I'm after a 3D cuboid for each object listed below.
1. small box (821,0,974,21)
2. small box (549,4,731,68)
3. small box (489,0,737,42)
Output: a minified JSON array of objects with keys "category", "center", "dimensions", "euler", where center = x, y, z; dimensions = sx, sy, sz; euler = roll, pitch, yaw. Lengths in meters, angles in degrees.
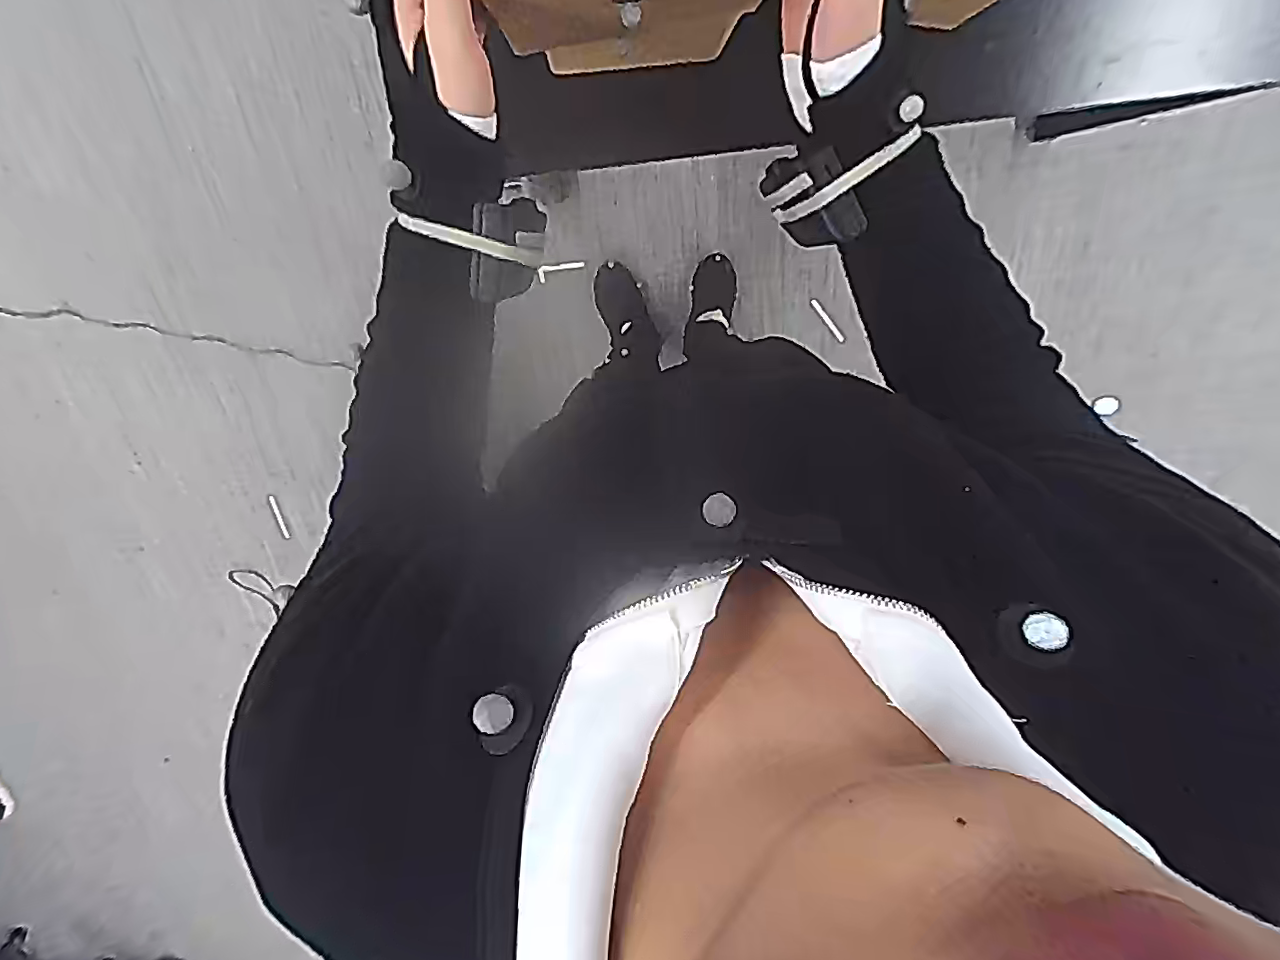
[{"category":"small box","center":[0.251,-0.524,0.452],"dimensions":[0.168,0.176,0.179],"euler":[3,113,-4]},{"category":"small box","center":[-0.009,-0.481,0.463],"dimensions":[0.179,0.176,0.168],"euler":[-5,114,1]},{"category":"small box","center":[-0.010,-0.353,0.273],"dimensions":[0.179,0.176,0.168],"euler":[-9,118,2]}]
